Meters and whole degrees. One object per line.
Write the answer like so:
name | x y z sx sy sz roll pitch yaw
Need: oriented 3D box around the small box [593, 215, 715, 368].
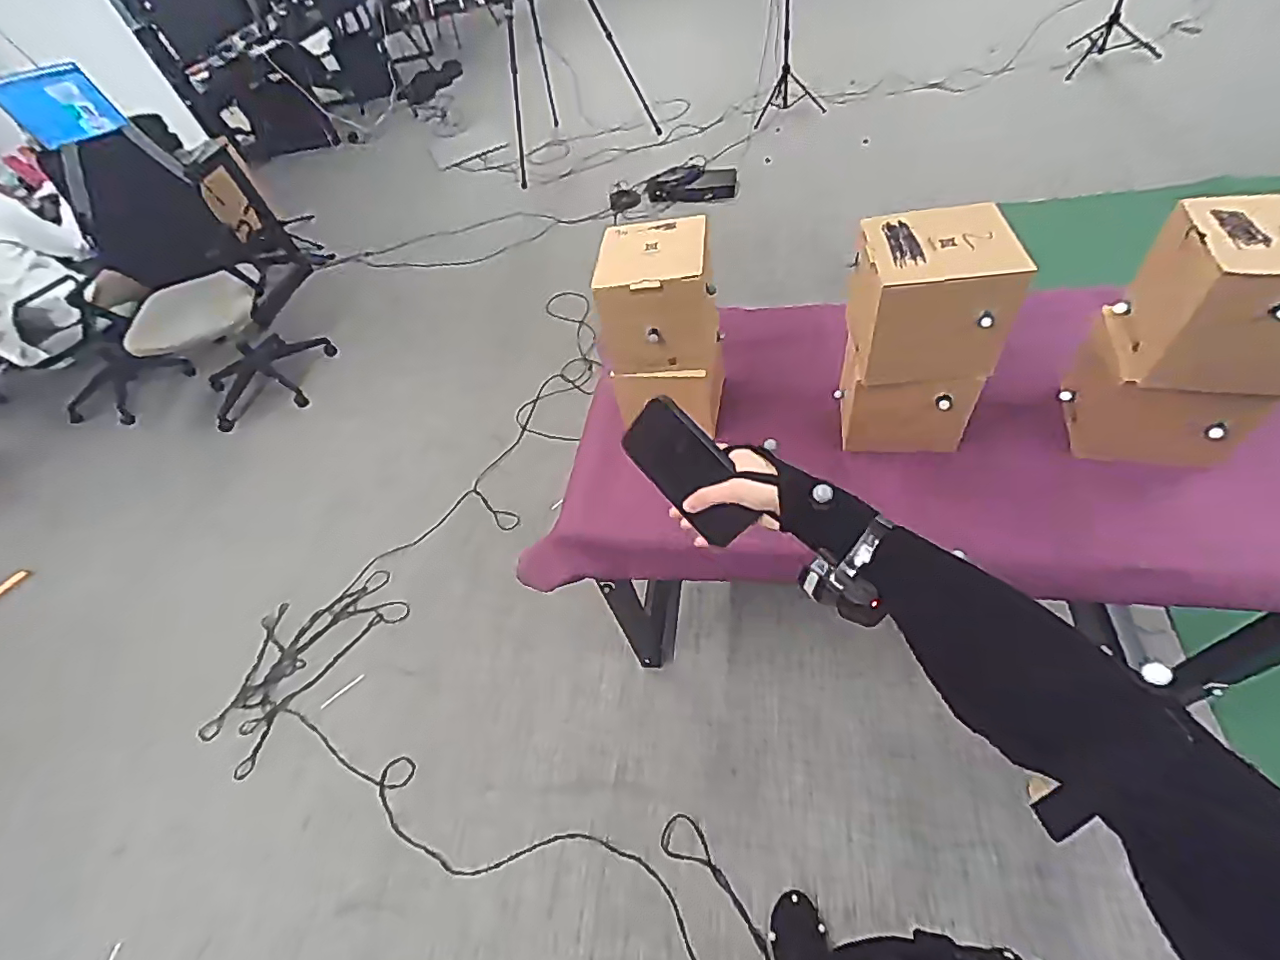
small box | 0.033 -0.297 0.881 0.168 0.176 0.179 -1 53 12

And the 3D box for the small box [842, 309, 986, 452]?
small box | 0.435 -0.160 0.889 0.179 0.176 0.168 2 53 15

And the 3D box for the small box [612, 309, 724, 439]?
small box | 0.062 -0.192 1.004 0.168 0.176 0.179 3 54 16

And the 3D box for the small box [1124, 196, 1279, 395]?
small box | 0.736 -0.220 0.656 0.179 0.176 0.168 8 55 18

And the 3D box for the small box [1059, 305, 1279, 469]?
small box | 0.760 -0.134 0.793 0.179 0.176 0.168 8 55 19
